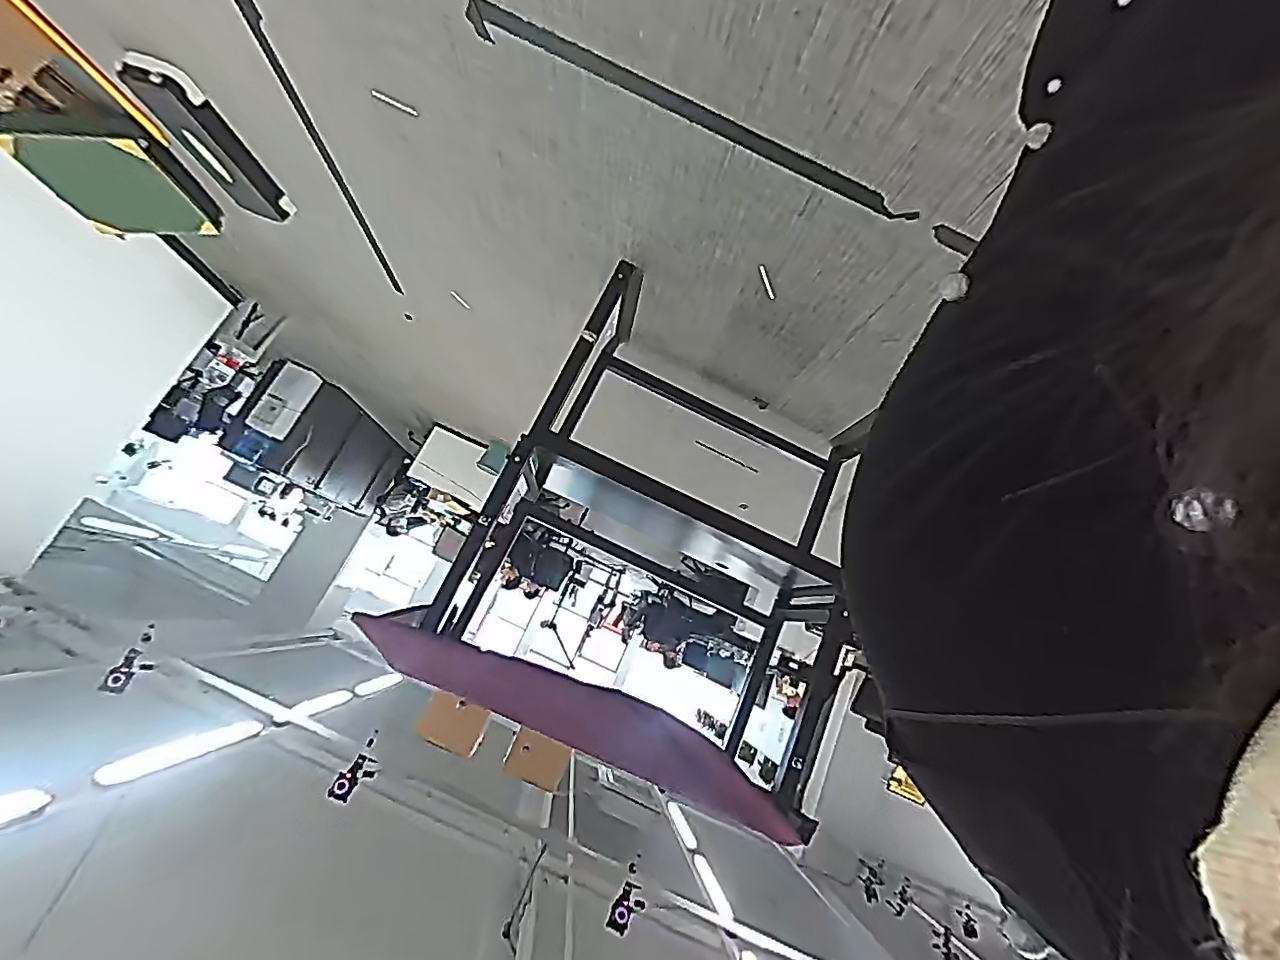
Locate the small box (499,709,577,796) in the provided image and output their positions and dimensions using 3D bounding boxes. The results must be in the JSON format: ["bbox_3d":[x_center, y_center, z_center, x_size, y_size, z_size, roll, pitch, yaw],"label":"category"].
[{"bbox_3d":[-0.310,0.830,1.666,0.179,0.176,0.168,25,165,-2],"label":"small box"}]

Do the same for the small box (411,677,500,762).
[{"bbox_3d":[-0.547,0.710,1.626,0.179,0.176,0.168,25,165,1],"label":"small box"}]
